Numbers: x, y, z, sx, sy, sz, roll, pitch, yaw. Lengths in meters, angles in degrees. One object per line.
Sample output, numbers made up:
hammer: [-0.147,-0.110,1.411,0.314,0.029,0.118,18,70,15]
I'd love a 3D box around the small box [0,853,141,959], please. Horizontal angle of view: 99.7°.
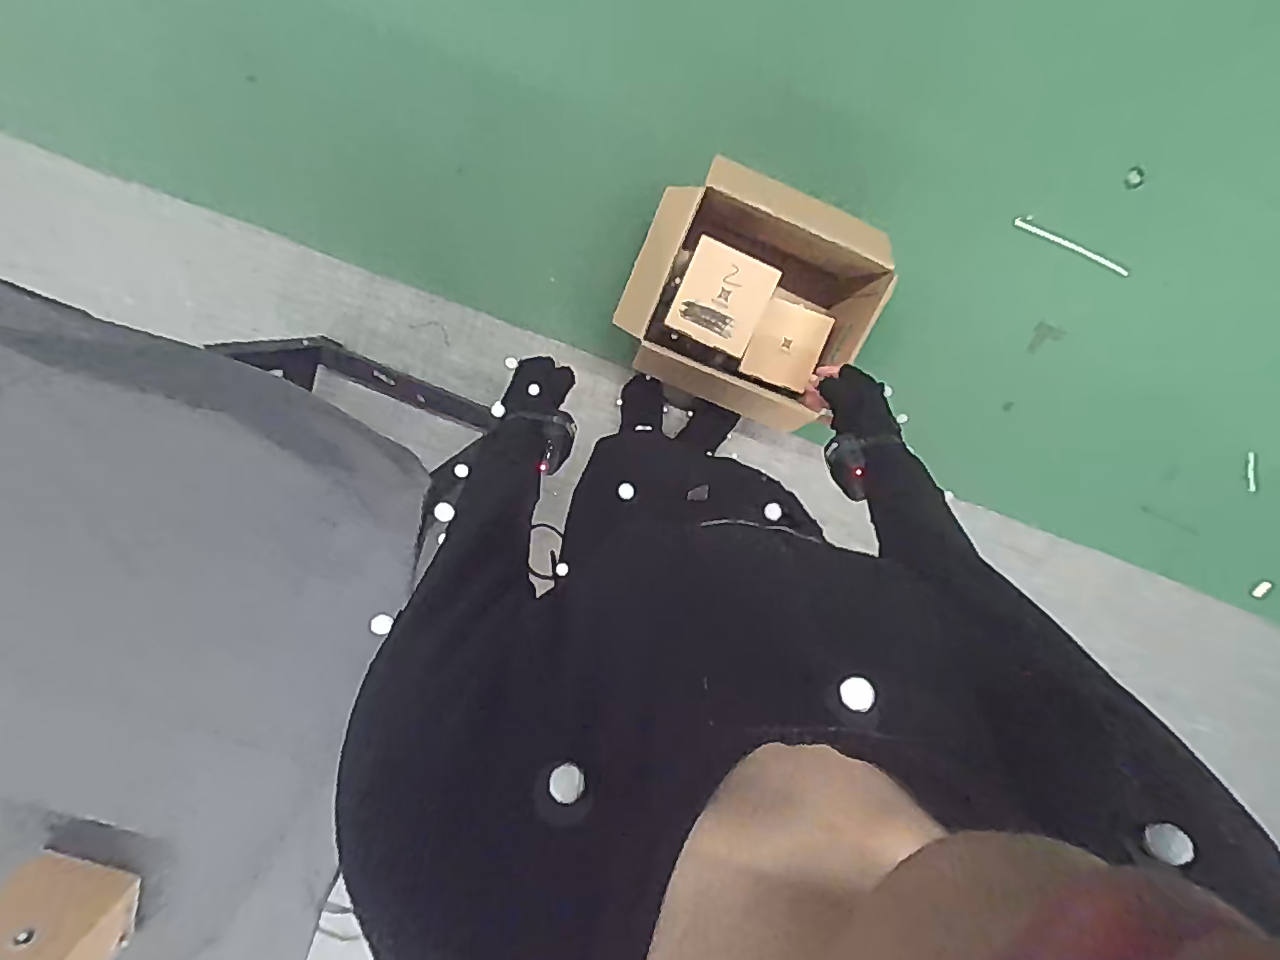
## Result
small box: [-0.993,0.770,0.902,0.179,0.176,0.168,20,106,-4]
